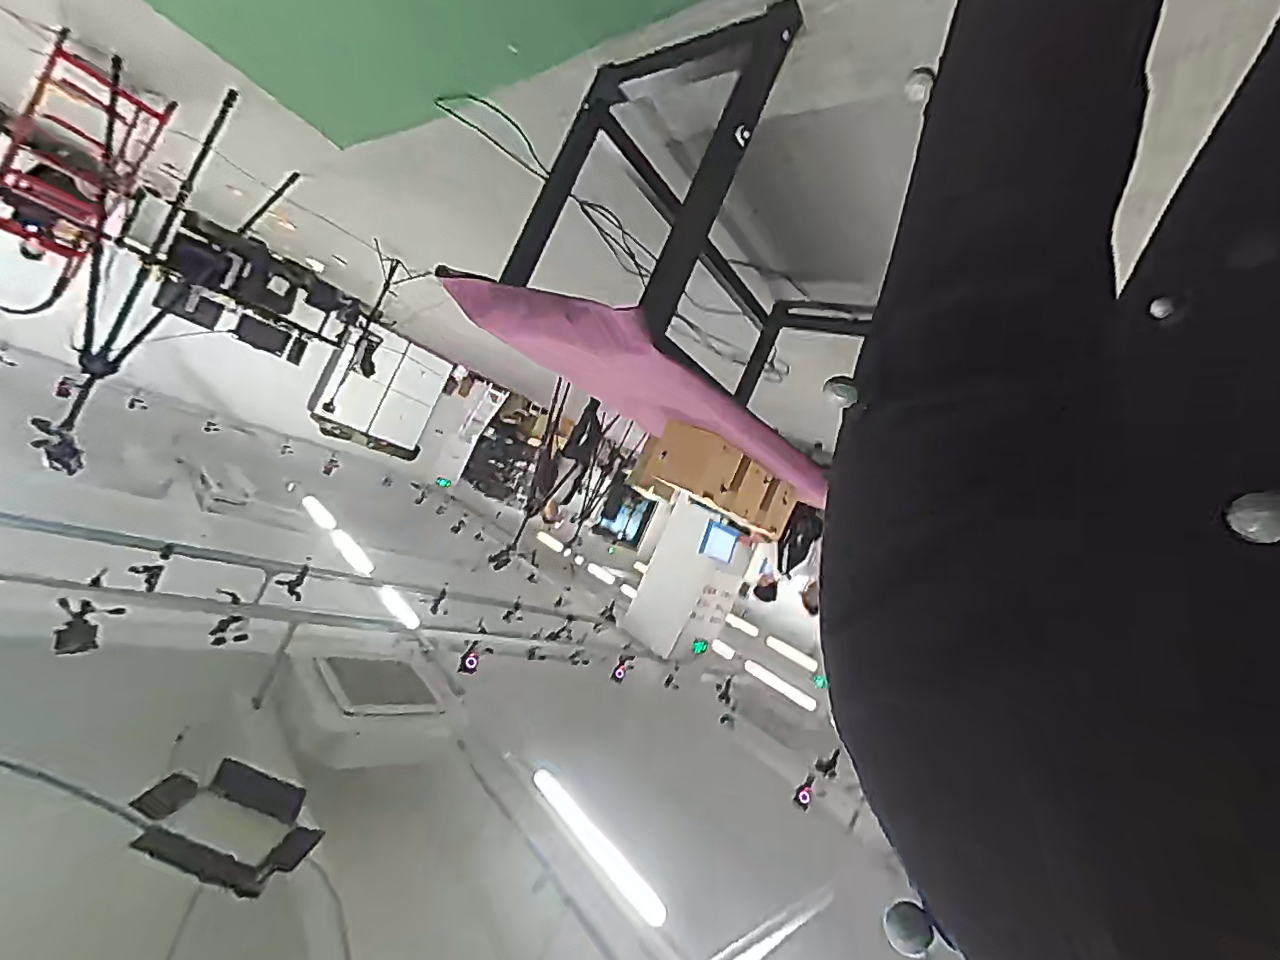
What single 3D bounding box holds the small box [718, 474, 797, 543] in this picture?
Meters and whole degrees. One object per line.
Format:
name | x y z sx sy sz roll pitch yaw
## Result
small box | 0.405 0.092 1.852 0.179 0.176 0.168 23 177 41
